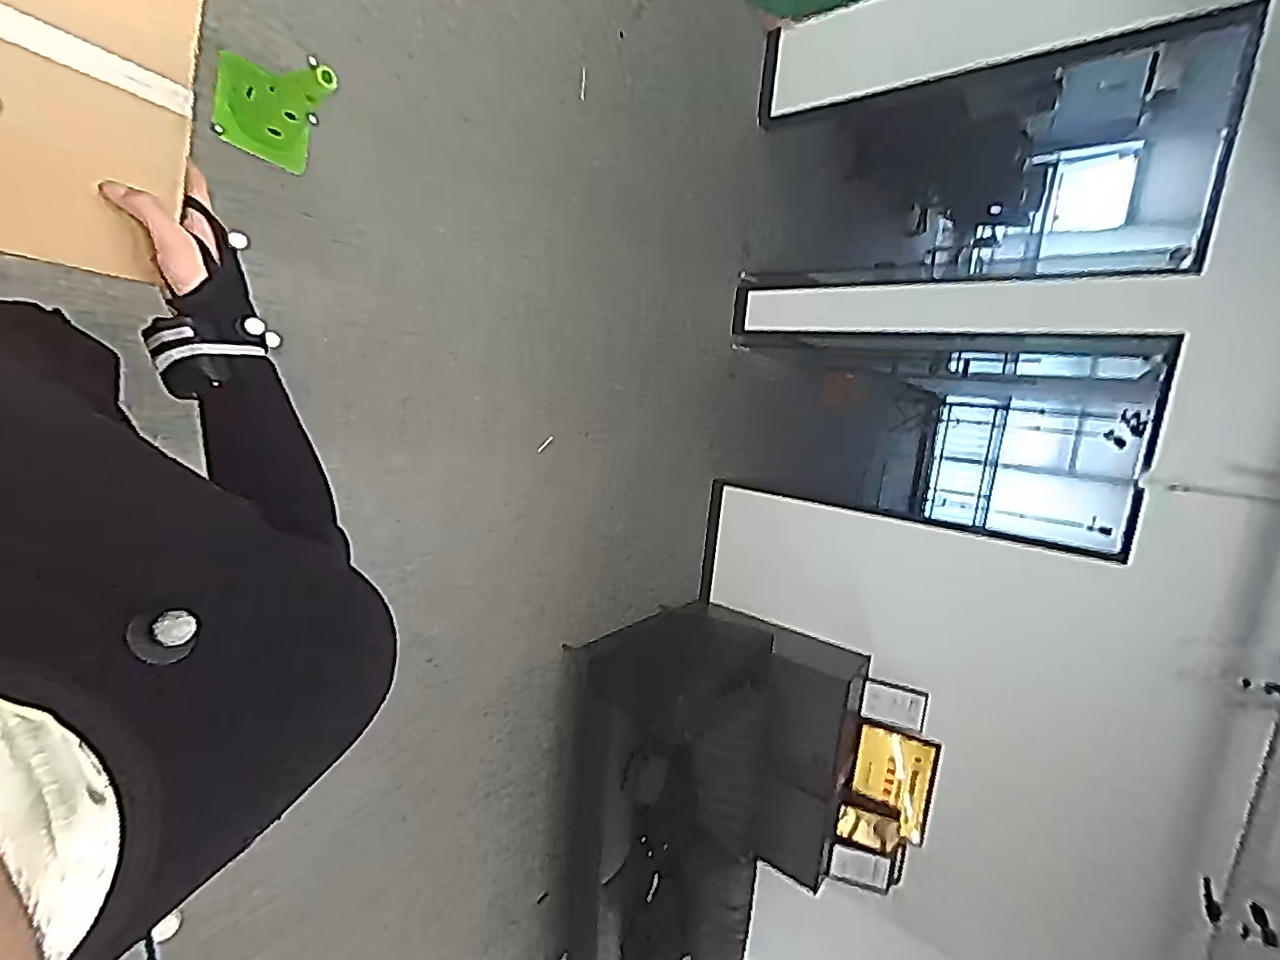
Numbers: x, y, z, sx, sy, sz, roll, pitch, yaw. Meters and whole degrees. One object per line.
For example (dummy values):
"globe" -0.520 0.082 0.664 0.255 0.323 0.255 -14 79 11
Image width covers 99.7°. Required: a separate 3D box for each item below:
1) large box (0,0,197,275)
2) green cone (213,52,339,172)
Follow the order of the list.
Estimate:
"large box" -0.617 -0.379 0.383 0.408 0.320 0.320 -3 117 -54
"green cone" -0.789 -0.874 1.234 0.200 0.368 0.202 4 95 -54
